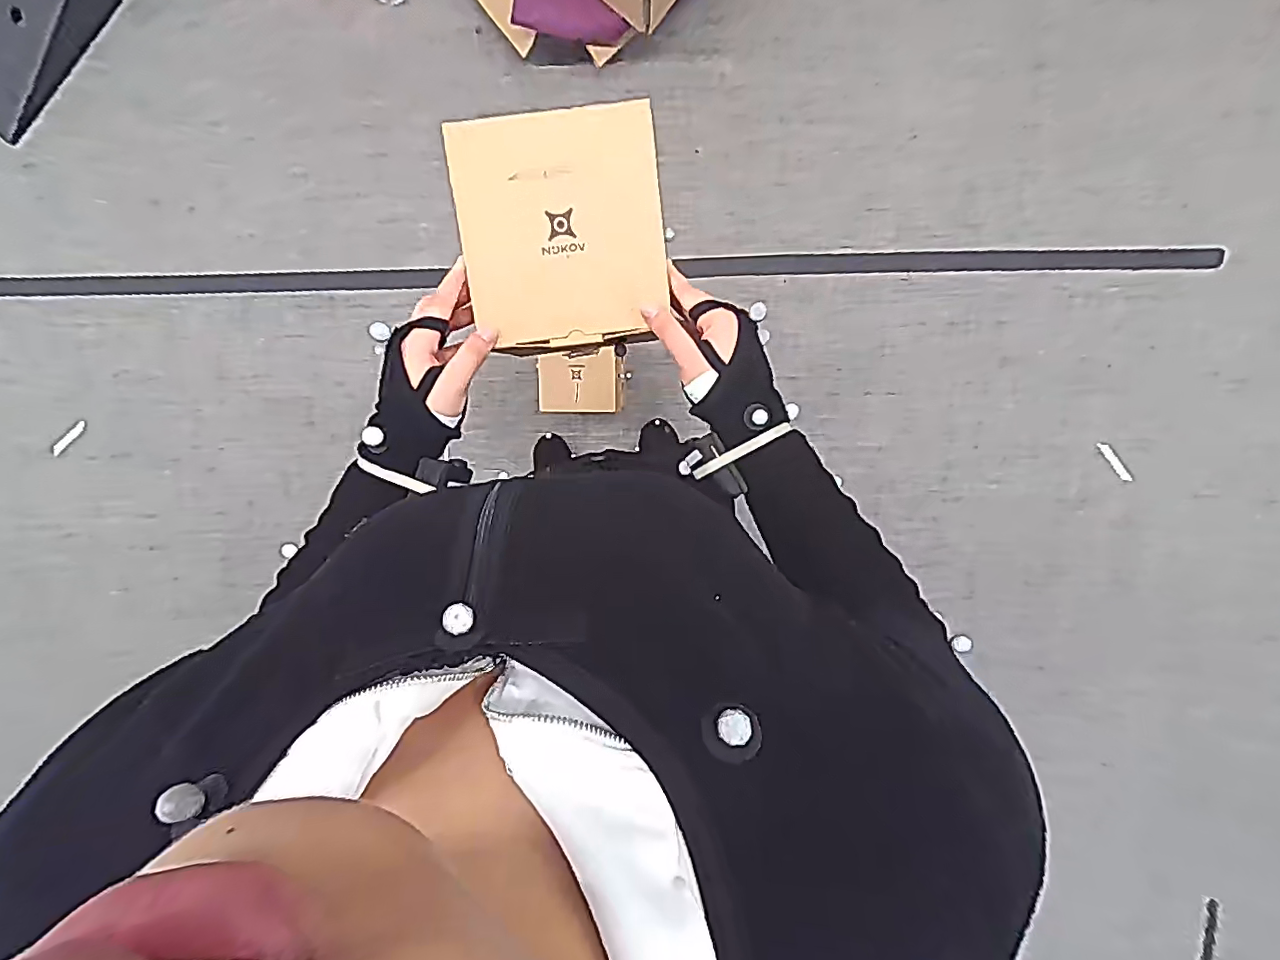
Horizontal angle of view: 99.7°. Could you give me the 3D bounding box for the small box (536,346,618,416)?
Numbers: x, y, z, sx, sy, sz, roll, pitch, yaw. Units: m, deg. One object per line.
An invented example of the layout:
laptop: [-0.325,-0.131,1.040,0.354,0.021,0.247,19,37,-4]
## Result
small box: [-0.137,-0.235,1.219,0.168,0.176,0.179,1,98,1]

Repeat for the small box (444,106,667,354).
small box: [-0.067,-0.216,0.518,0.168,0.176,0.179,-7,101,-1]

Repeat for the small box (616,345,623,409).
small box: [-0.136,-0.261,1.382,0.179,0.176,0.168,1,98,1]
